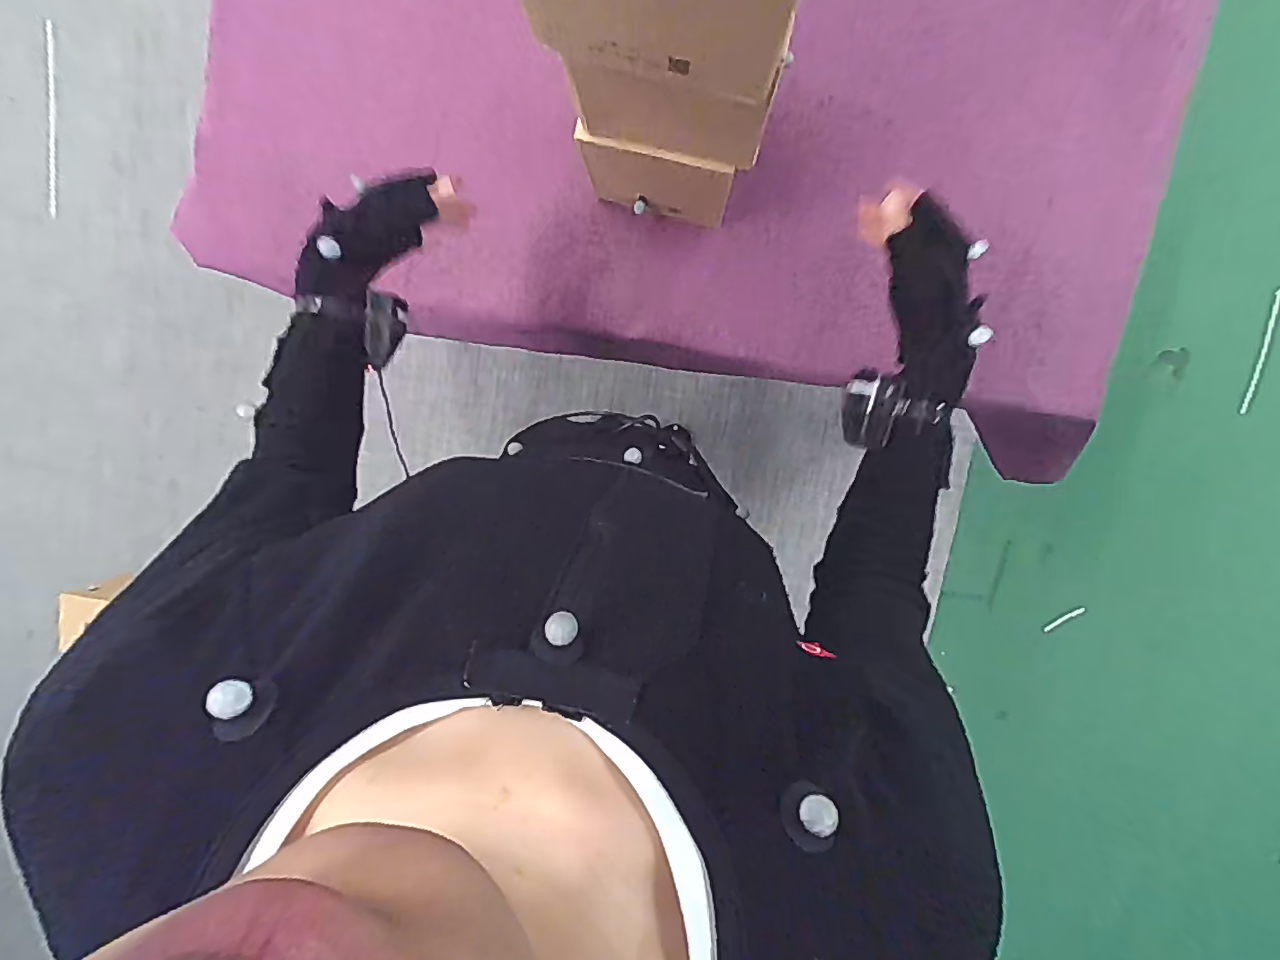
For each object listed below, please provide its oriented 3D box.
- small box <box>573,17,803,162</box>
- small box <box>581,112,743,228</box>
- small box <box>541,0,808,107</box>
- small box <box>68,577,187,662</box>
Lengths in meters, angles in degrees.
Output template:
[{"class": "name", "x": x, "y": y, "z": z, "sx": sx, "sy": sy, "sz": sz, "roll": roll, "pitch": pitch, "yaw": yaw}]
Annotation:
[{"class": "small box", "x": 0.042, "y": -0.391, "z": 0.440, "sx": 0.179, "sy": 0.176, "sz": 0.168, "roll": 13, "pitch": 98, "yaw": 1}, {"class": "small box", "x": 0.043, "y": -0.411, "z": 0.600, "sx": 0.168, "sy": 0.176, "sz": 0.179, "roll": 14, "pitch": 99, "yaw": 2}, {"class": "small box", "x": 0.030, "y": -0.347, "z": 0.281, "sx": 0.168, "sy": 0.176, "sz": 0.179, "roll": 15, "pitch": 97, "yaw": 1}, {"class": "small box", "x": -1.427, "y": 0.382, "z": 1.511, "sx": 0.179, "sy": 0.176, "sz": 0.168, "roll": 9, "pitch": 99, "yaw": 1}]
